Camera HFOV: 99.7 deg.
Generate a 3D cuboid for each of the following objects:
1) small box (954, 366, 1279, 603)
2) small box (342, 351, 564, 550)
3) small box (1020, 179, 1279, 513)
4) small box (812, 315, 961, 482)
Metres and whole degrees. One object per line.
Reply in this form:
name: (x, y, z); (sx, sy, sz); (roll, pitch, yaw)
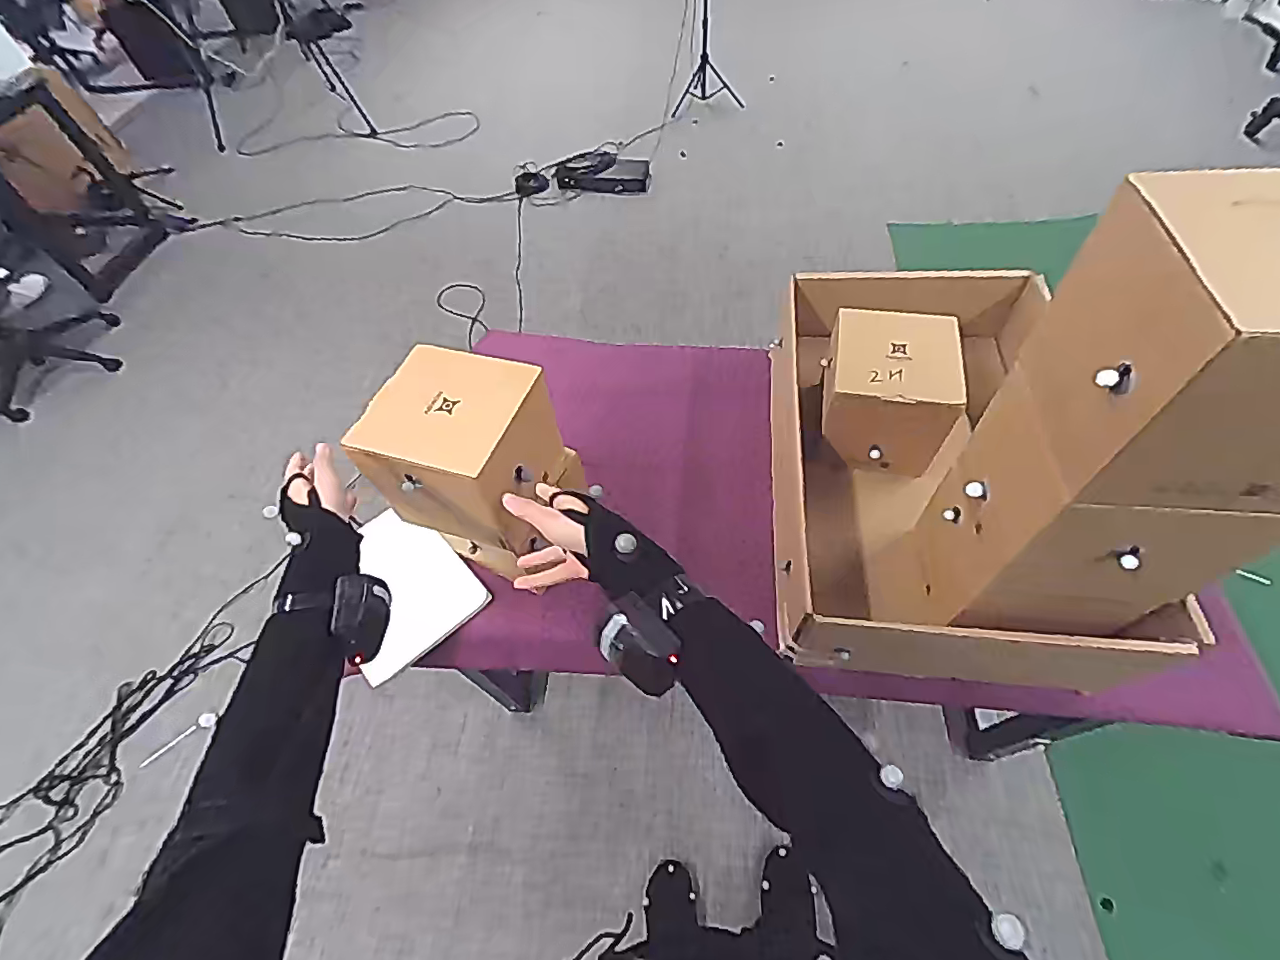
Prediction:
small box: (0.438, 0.008, 0.522); (0.179, 0.176, 0.168); (3, 55, 10)
small box: (-0.212, -0.031, 0.673); (0.179, 0.176, 0.168); (13, 57, 15)
small box: (0.420, -0.092, 0.395); (0.168, 0.176, 0.179); (4, 55, 10)
small box: (0.364, -0.123, 0.824); (0.168, 0.176, 0.179); (9, 57, 12)
